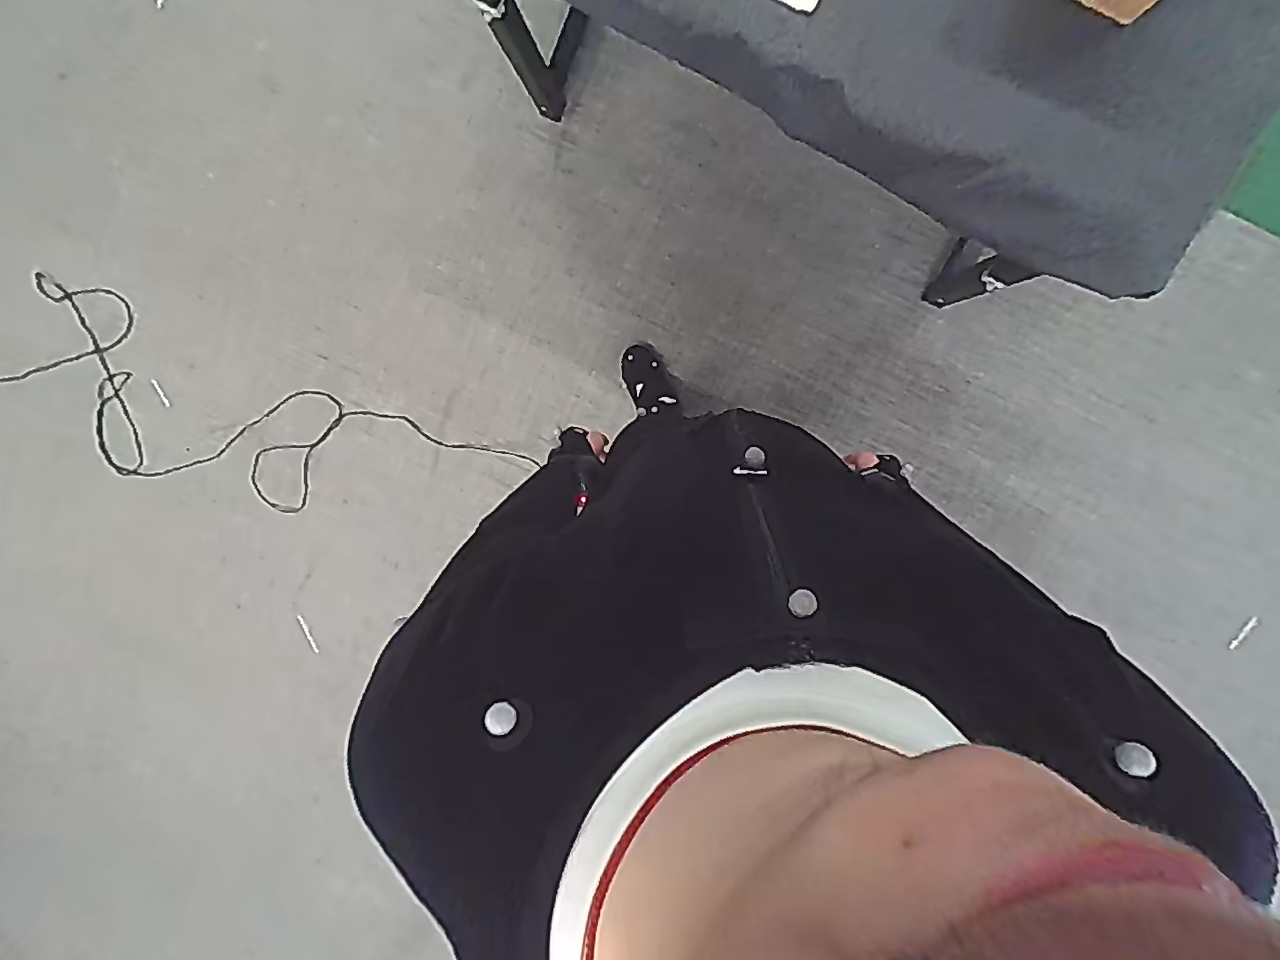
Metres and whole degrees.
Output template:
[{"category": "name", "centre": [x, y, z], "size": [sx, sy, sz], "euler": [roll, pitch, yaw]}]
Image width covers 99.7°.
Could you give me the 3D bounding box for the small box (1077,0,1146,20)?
[{"category": "small box", "centre": [0.561, -0.664, 0.585], "size": [0.168, 0.176, 0.179], "euler": [26, 103, 0]}]
